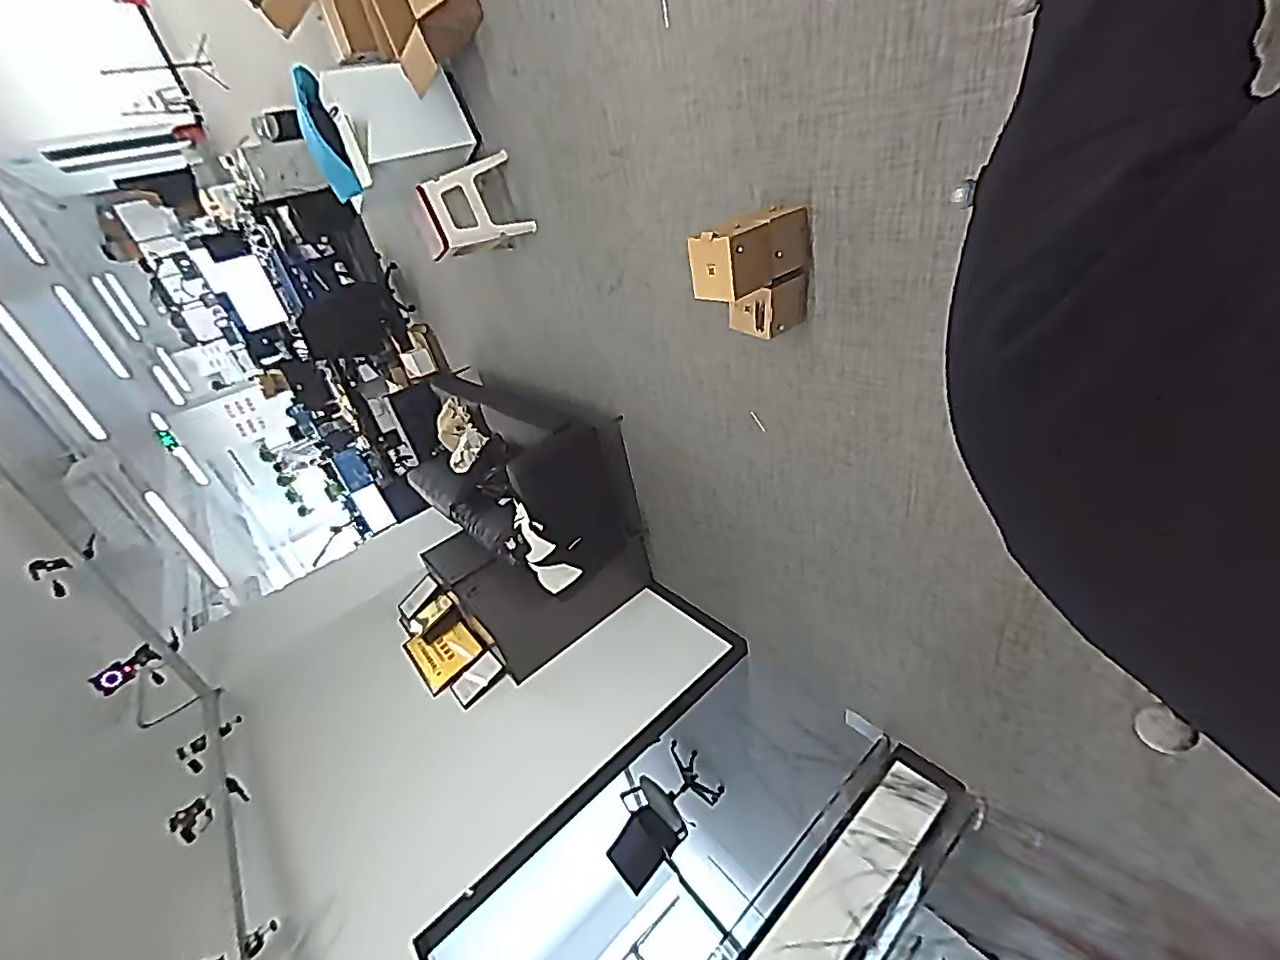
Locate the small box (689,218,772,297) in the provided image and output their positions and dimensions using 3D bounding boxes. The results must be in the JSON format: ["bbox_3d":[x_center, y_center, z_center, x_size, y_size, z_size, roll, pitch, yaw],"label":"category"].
[{"bbox_3d":[0.270,-0.652,1.582,0.168,0.176,0.179,25,137,46],"label":"small box"}]
